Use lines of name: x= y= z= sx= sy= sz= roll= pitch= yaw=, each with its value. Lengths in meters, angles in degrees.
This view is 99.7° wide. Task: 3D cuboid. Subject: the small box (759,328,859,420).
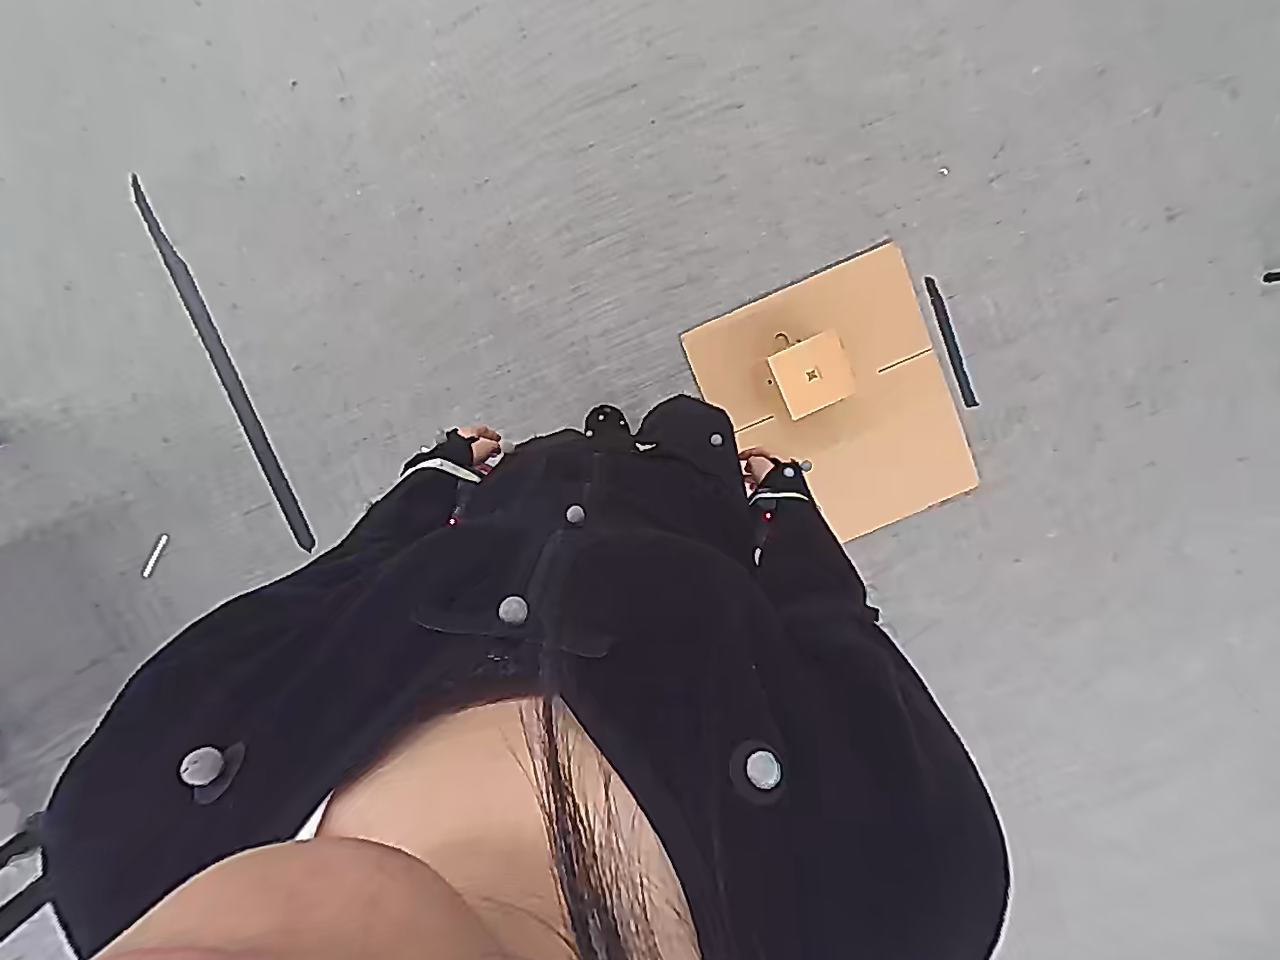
small box: x=0.412 y=-0.260 z=1.355 sx=0.179 sy=0.176 sz=0.168 roll=-25 pitch=98 yaw=4
